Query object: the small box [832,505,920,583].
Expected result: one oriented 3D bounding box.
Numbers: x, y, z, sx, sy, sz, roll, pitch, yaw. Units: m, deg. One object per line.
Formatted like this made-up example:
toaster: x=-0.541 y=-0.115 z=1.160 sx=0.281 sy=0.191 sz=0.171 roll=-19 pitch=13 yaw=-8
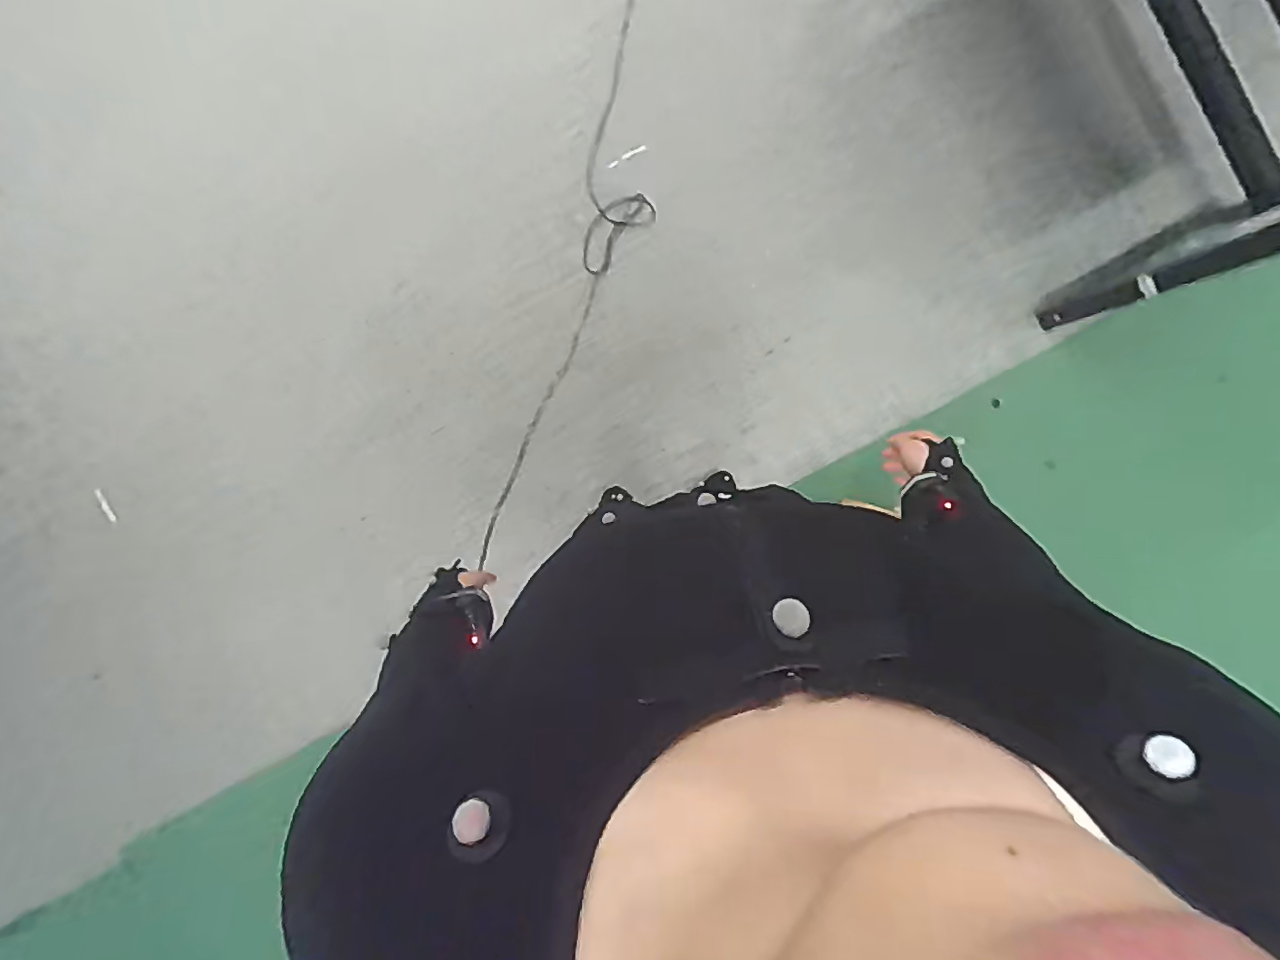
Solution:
small box: x=0.617 y=0.166 z=1.388 sx=0.179 sy=0.176 sz=0.168 roll=17 pitch=92 yaw=1
